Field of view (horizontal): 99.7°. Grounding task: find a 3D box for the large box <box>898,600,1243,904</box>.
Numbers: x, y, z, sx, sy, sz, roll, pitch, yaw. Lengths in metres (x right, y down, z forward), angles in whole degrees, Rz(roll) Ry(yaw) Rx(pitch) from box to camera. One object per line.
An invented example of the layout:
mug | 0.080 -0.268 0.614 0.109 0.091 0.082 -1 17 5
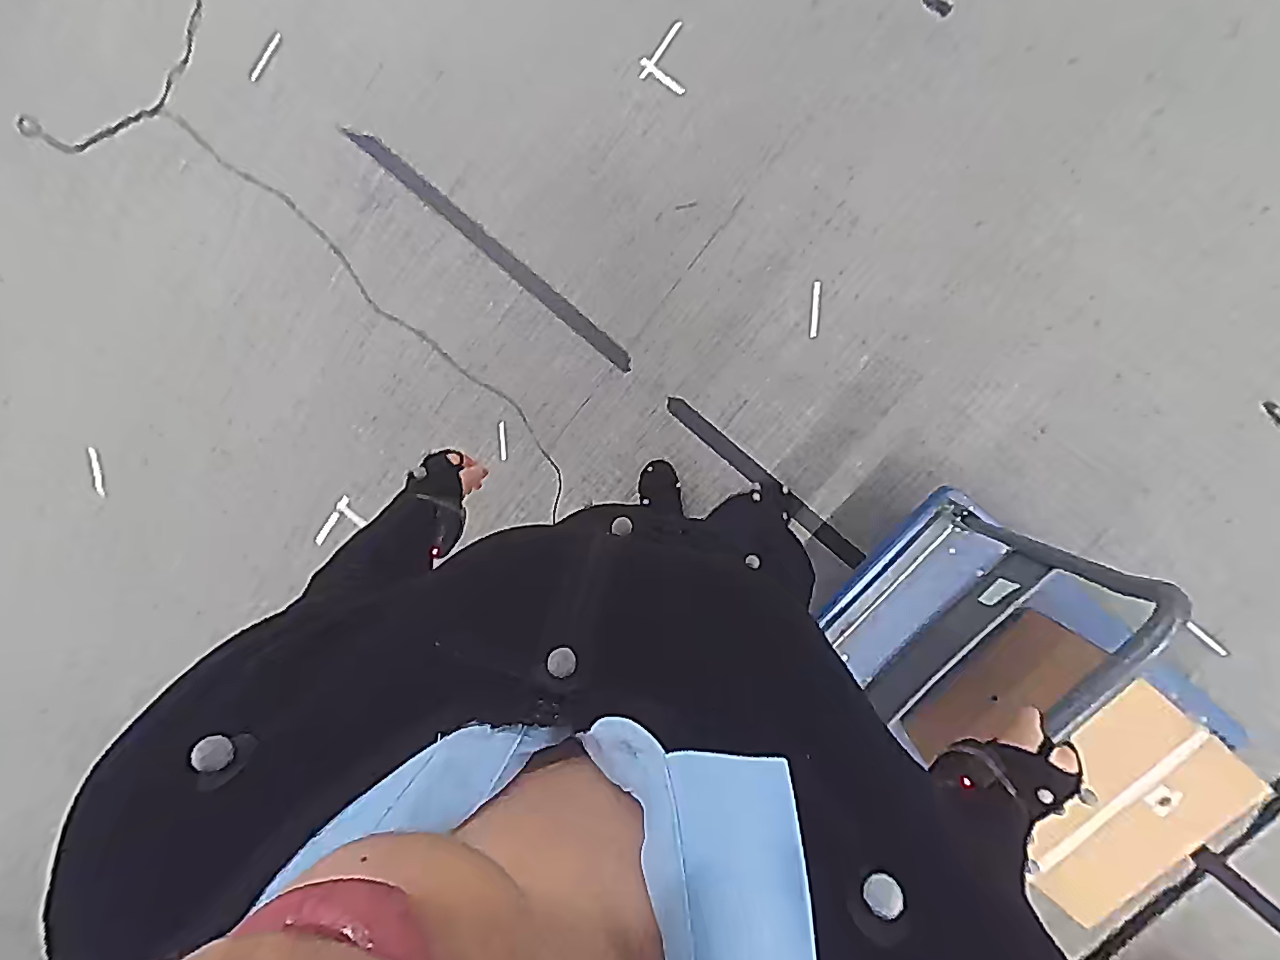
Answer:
large box | 0.839 0.532 1.127 0.320 0.320 0.408 41 99 0
